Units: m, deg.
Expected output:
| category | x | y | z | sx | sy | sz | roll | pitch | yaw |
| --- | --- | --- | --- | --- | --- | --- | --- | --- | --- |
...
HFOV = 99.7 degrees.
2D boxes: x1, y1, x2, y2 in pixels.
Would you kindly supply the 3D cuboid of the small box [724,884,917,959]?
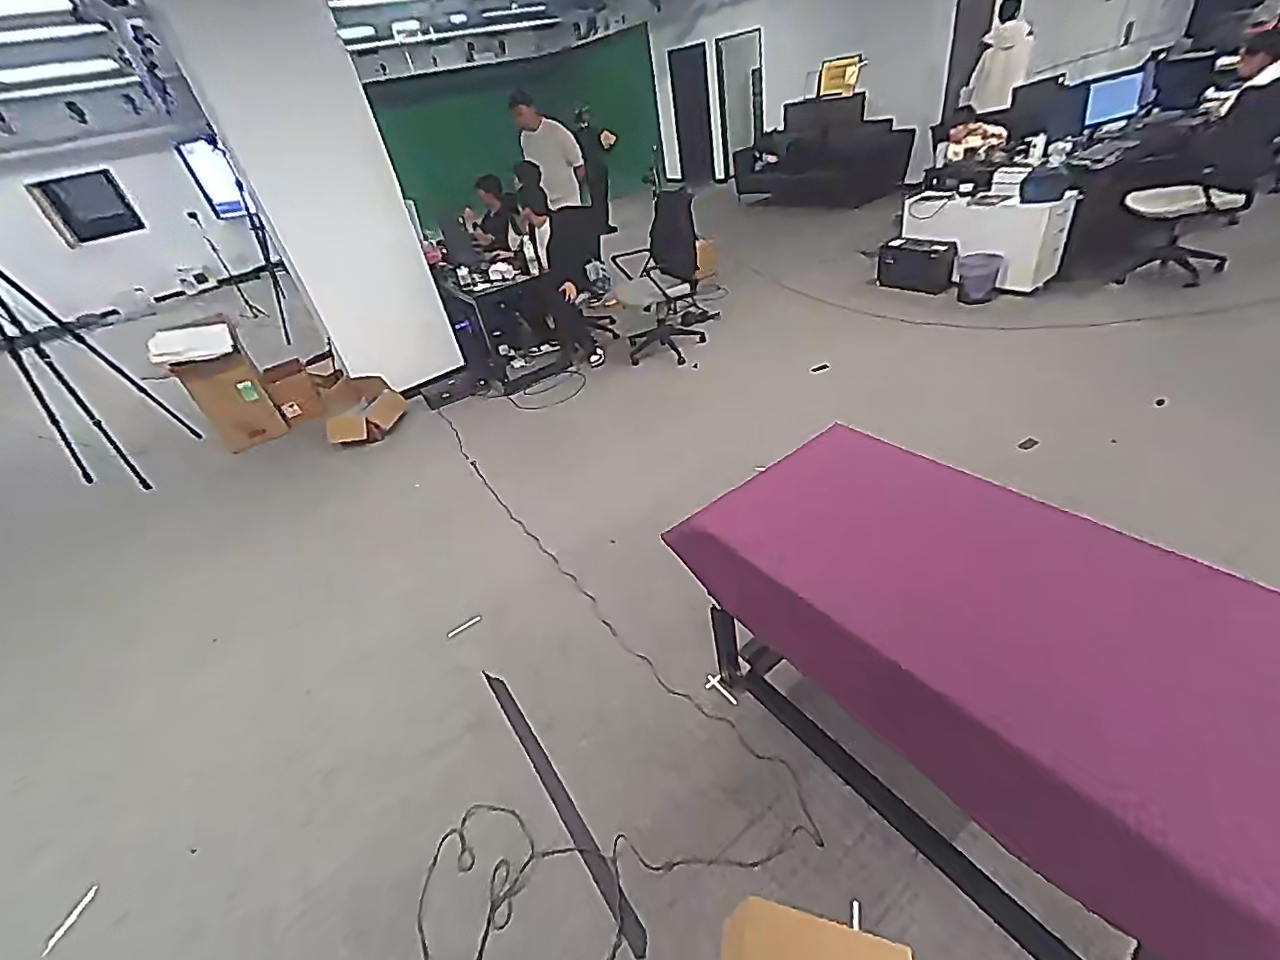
| category | x | y | z | sx | sy | sz | roll | pitch | yaw |
| --- | --- | --- | --- | --- | --- | --- | --- | --- | --- |
| small box | 0.171 | 0.554 | 0.547 | 0.168 | 0.176 | 0.179 | 12 | 44 | 10 |
